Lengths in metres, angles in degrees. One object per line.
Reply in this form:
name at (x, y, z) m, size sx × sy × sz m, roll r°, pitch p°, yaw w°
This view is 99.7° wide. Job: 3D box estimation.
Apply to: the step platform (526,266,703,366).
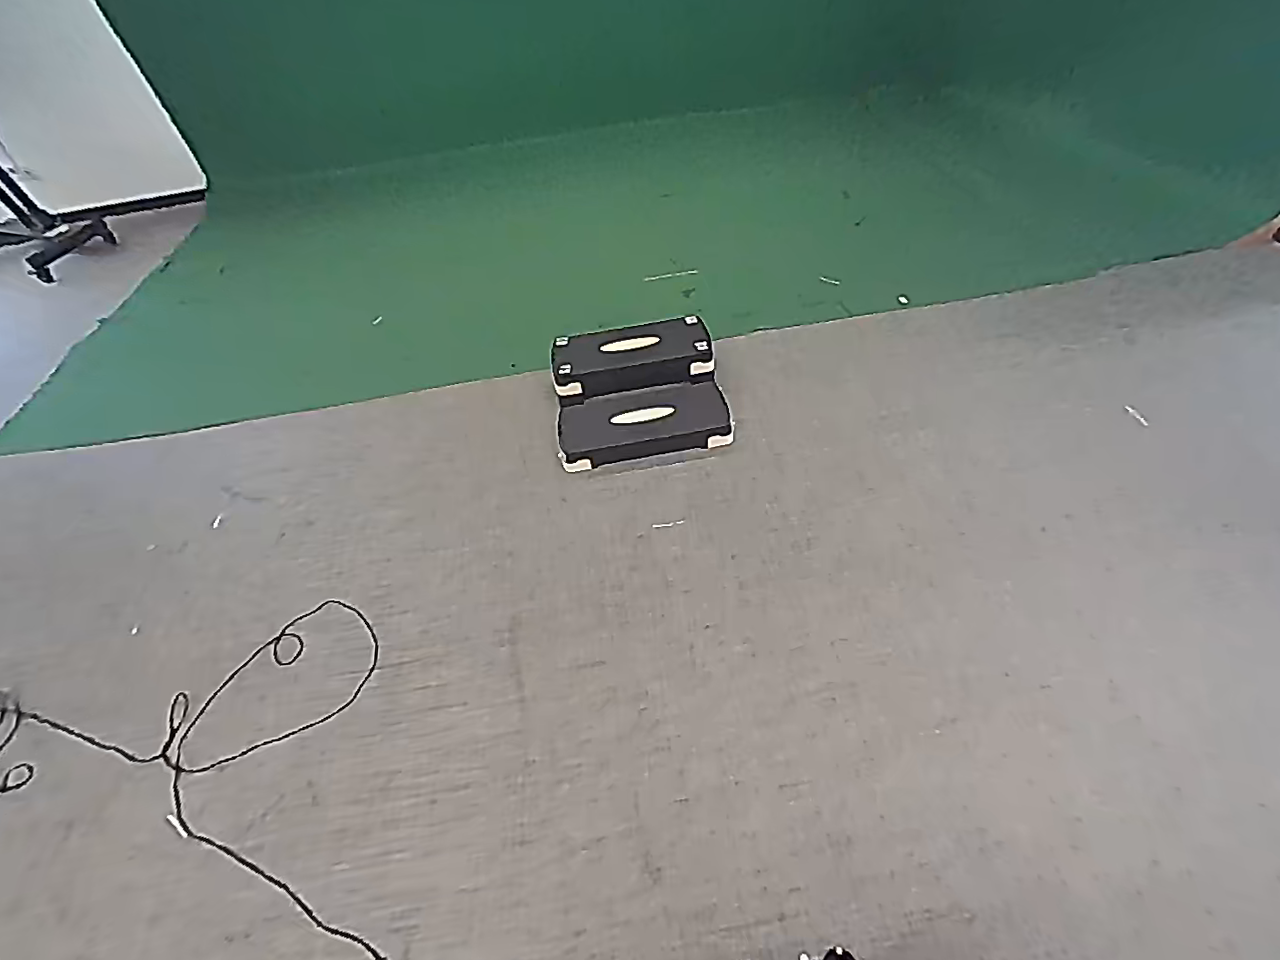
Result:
step platform at (-0.096, -0.659, 2.169) m, size 0.684 × 0.204 × 0.286 m, roll -10°, pitch 49°, yaw -1°
